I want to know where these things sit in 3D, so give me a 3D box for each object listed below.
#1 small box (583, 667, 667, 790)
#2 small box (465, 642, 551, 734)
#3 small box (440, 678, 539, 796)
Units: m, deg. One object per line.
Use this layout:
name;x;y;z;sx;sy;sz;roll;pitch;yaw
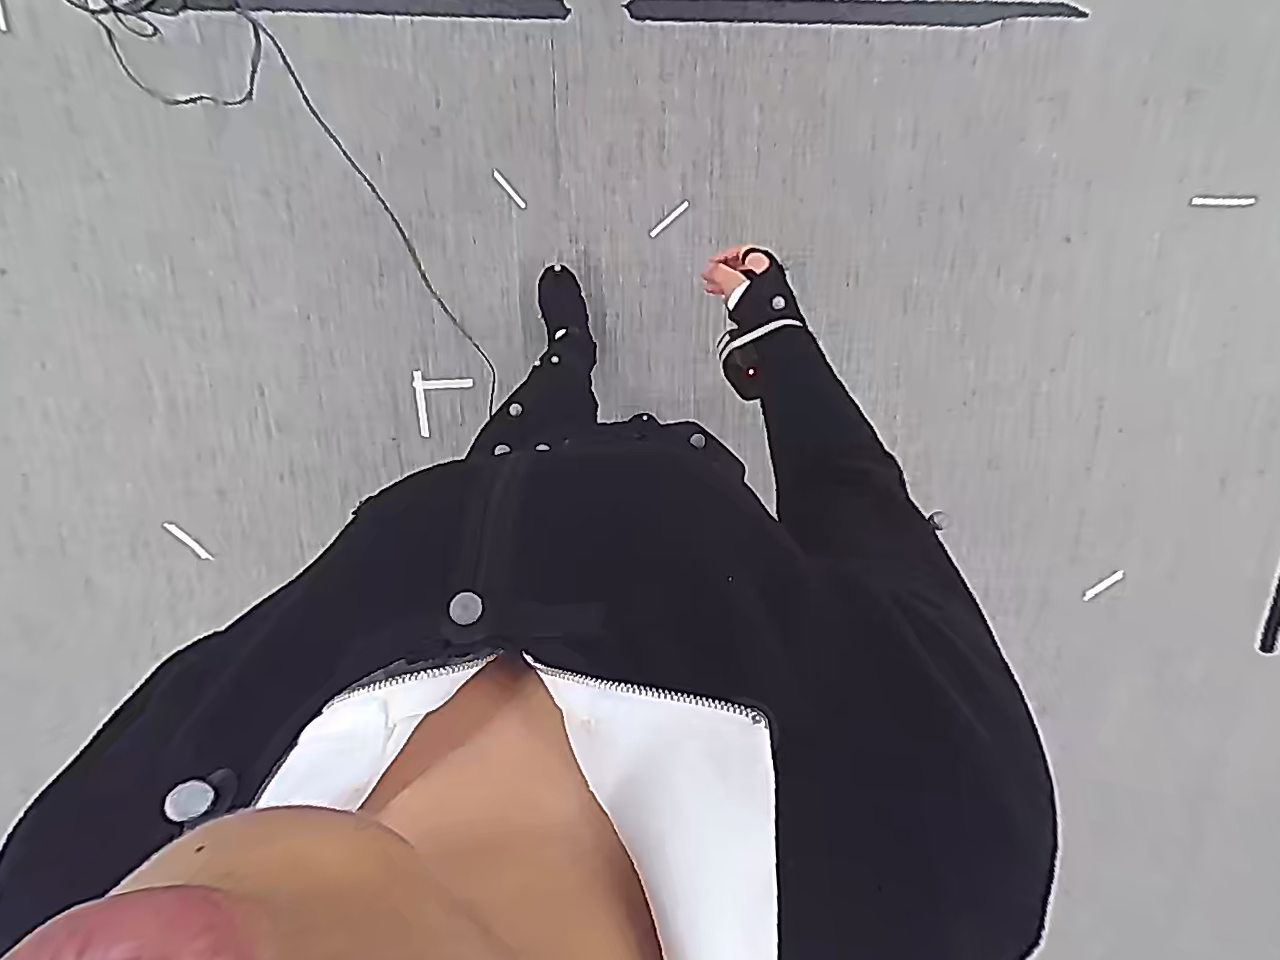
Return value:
small box;-0.027;0.524;1.152;0.168;0.176;0.179;-3;102;1
small box;-0.311;0.491;1.314;0.179;0.176;0.168;1;103;-1
small box;-0.312;0.543;1.159;0.179;0.176;0.168;1;103;-2
